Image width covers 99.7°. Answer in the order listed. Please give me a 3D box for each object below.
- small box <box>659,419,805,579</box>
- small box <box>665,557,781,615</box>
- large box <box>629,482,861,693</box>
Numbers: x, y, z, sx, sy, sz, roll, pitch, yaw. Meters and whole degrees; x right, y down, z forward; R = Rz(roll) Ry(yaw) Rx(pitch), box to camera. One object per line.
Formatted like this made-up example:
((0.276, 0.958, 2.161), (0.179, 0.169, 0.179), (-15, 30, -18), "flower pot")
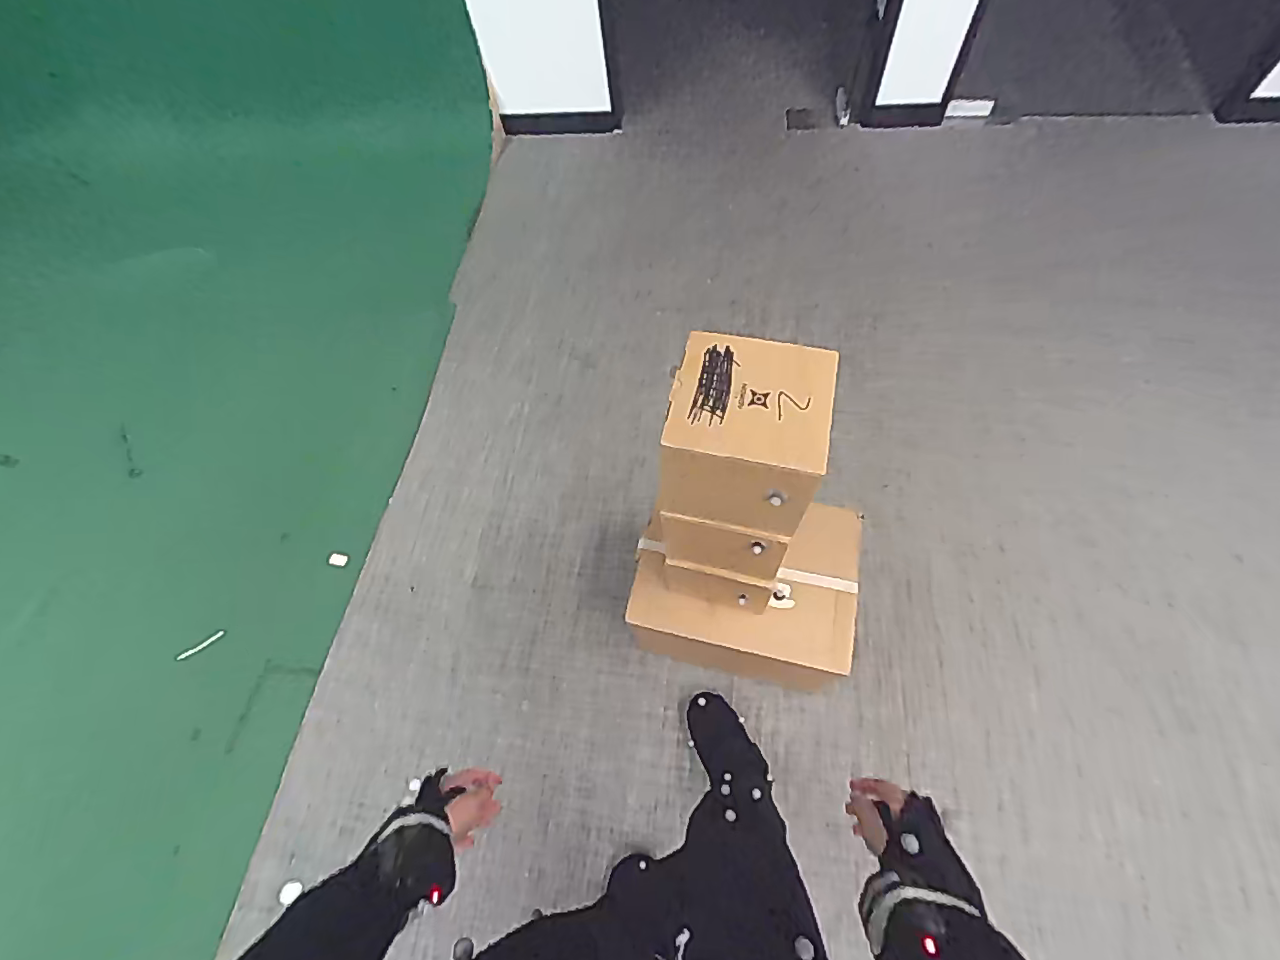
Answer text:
((0.134, 0.034, 0.804), (0.179, 0.176, 0.168), (11, 63, 10), "small box")
((0.150, 0.123, 0.940), (0.179, 0.176, 0.168), (11, 63, 12), "small box")
((0.212, 0.236, 1.149), (0.408, 0.320, 0.320), (11, 65, 9), "large box")
